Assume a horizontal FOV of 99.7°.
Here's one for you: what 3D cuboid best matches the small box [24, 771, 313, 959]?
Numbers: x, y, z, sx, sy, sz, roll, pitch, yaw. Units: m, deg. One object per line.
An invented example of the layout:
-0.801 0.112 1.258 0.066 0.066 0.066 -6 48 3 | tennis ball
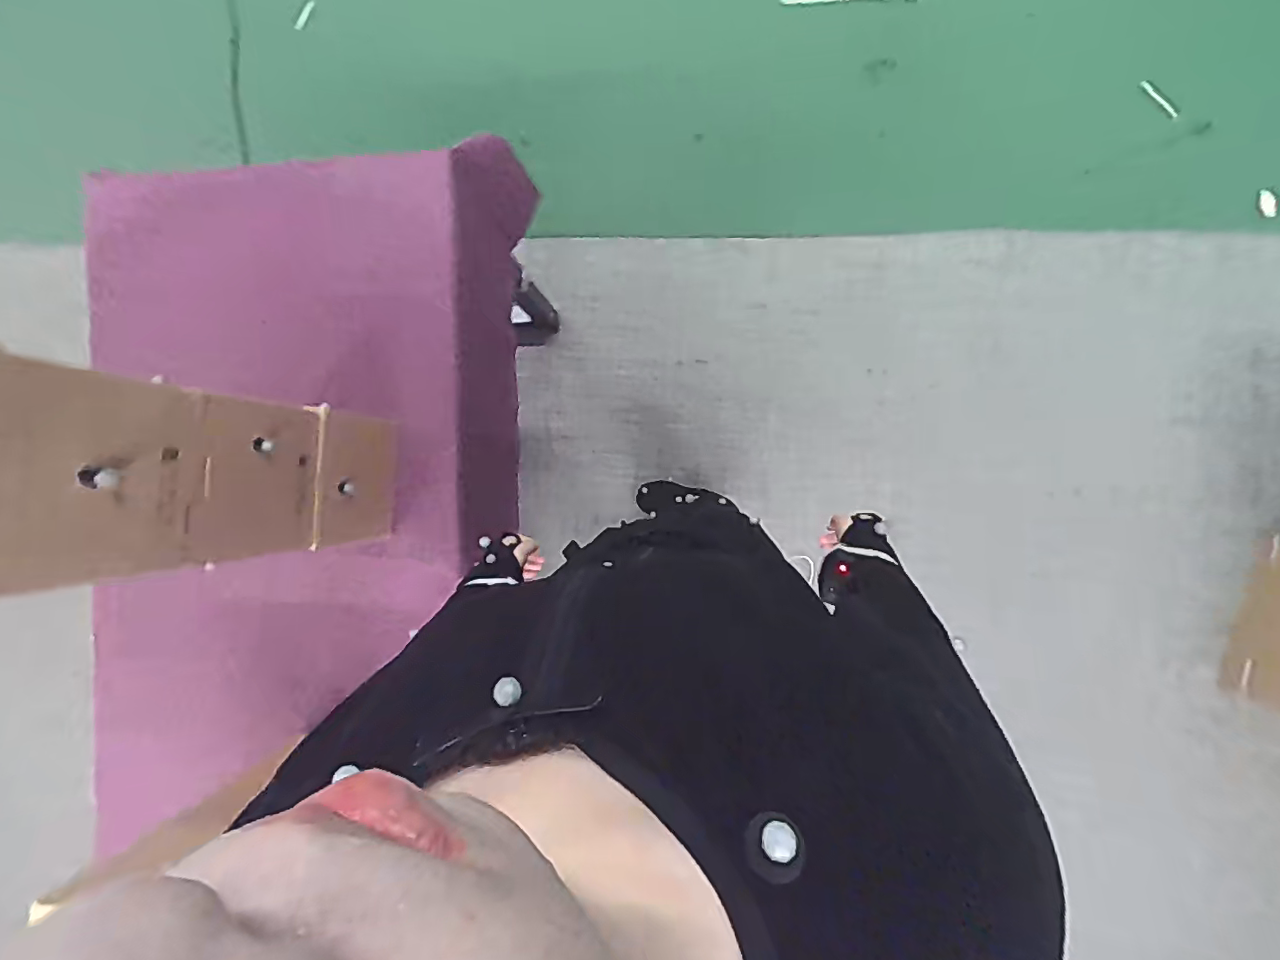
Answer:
-0.490 0.442 0.584 0.179 0.176 0.168 3 89 8 | small box
